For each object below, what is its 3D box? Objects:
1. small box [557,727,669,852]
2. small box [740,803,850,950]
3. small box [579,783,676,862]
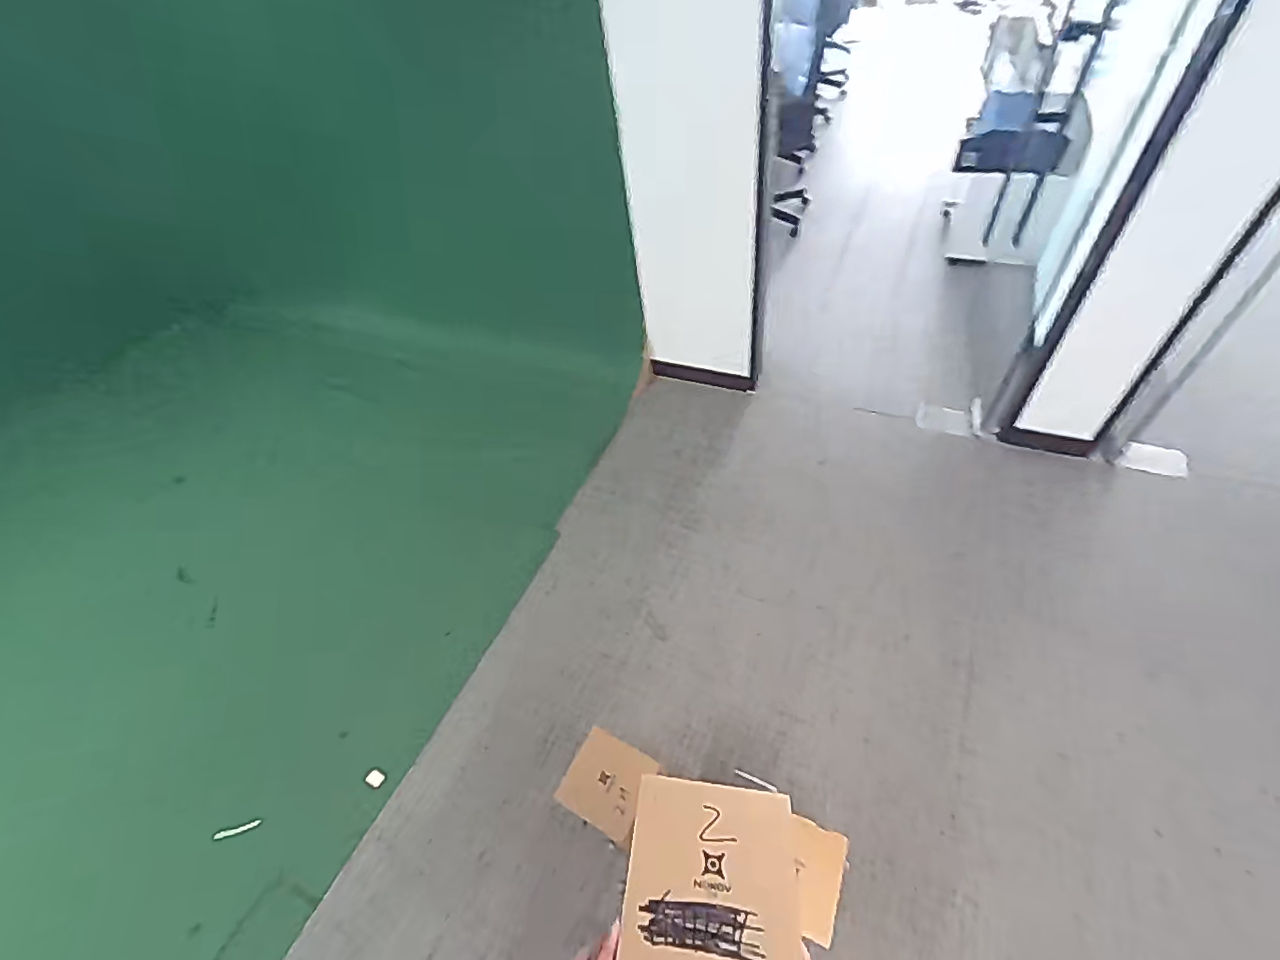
[{"bbox_3d":[-0.052,0.683,1.187,0.179,0.176,0.168,20,56,24],"label":"small box"},{"bbox_3d":[0.300,0.771,1.054,0.168,0.176,0.179,14,53,20],"label":"small box"},{"bbox_3d":[-0.024,0.792,1.309,0.179,0.176,0.168,19,55,22],"label":"small box"}]
